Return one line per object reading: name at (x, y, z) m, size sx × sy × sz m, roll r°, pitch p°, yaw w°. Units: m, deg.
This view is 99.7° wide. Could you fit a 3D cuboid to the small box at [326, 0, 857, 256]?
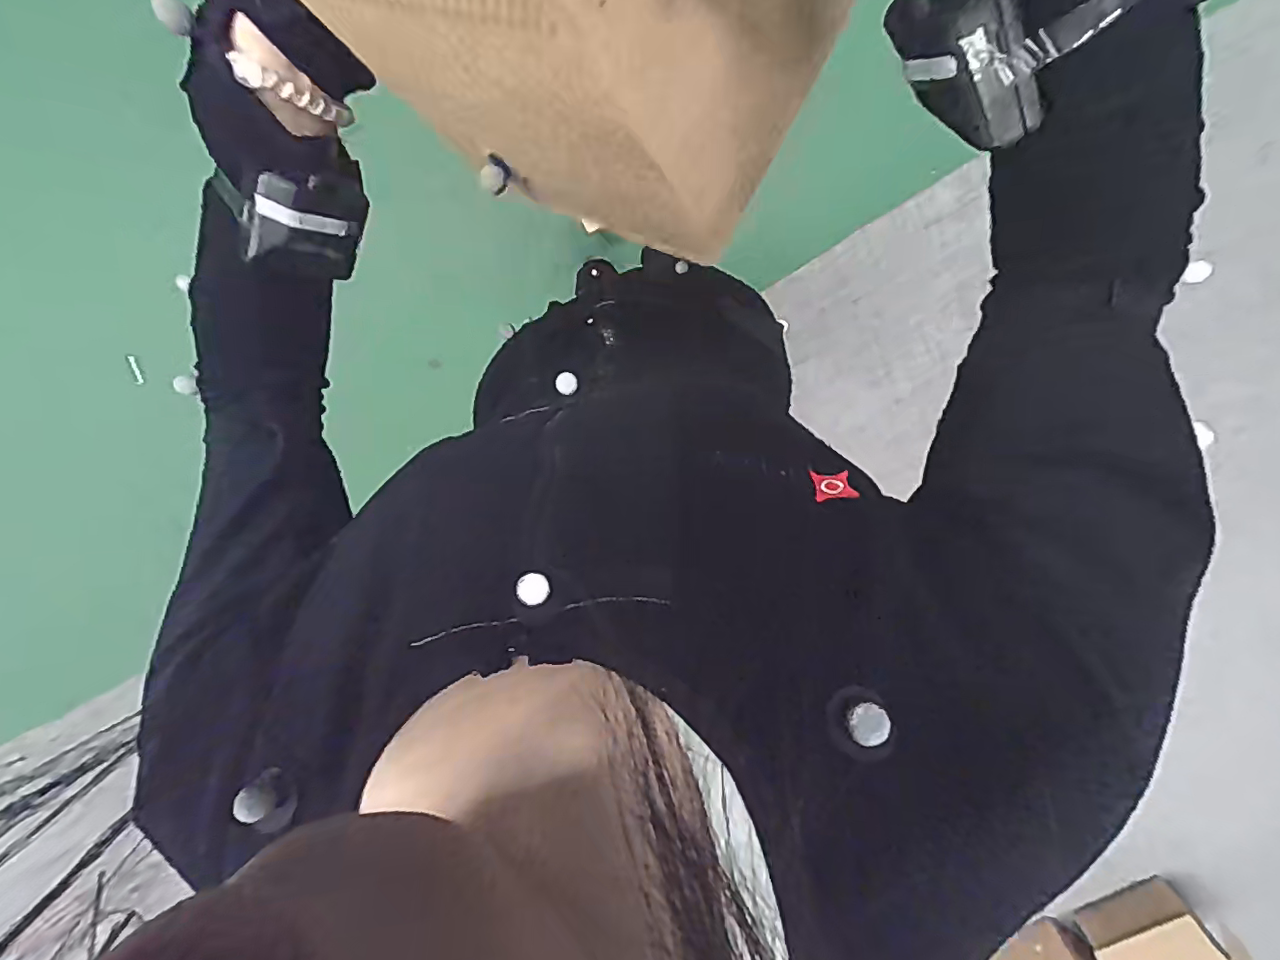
small box at (-0.018, -0.237, 0.240) m, size 0.179 × 0.176 × 0.168 m, roll 31°, pitch 100°, yaw 23°
